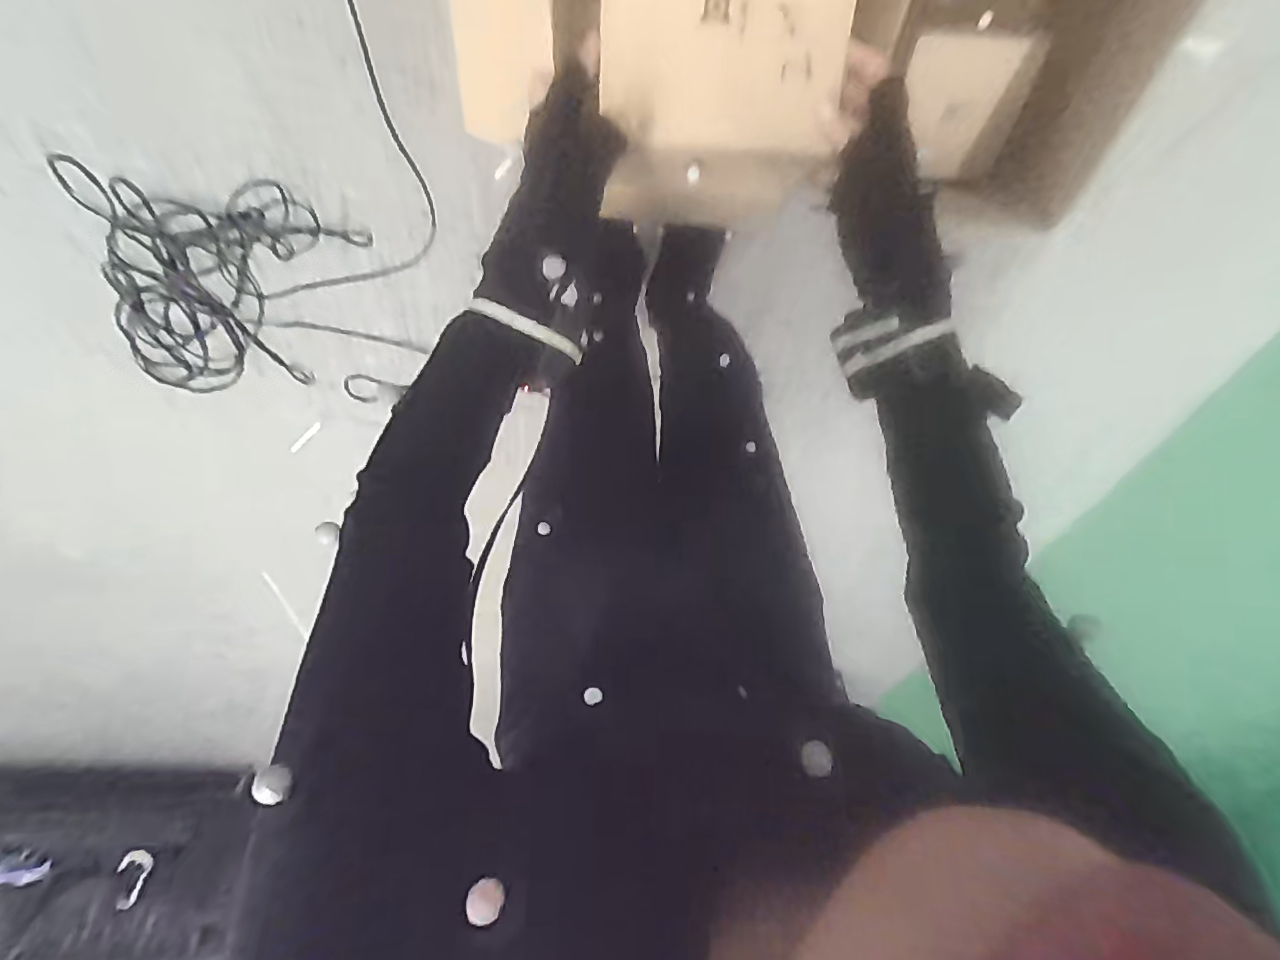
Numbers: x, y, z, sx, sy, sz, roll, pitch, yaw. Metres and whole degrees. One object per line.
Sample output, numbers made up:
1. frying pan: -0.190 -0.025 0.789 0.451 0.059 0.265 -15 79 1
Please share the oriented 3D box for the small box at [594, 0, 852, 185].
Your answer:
1. small box: 0.056 -0.349 0.444 0.179 0.176 0.168 2 111 -3
